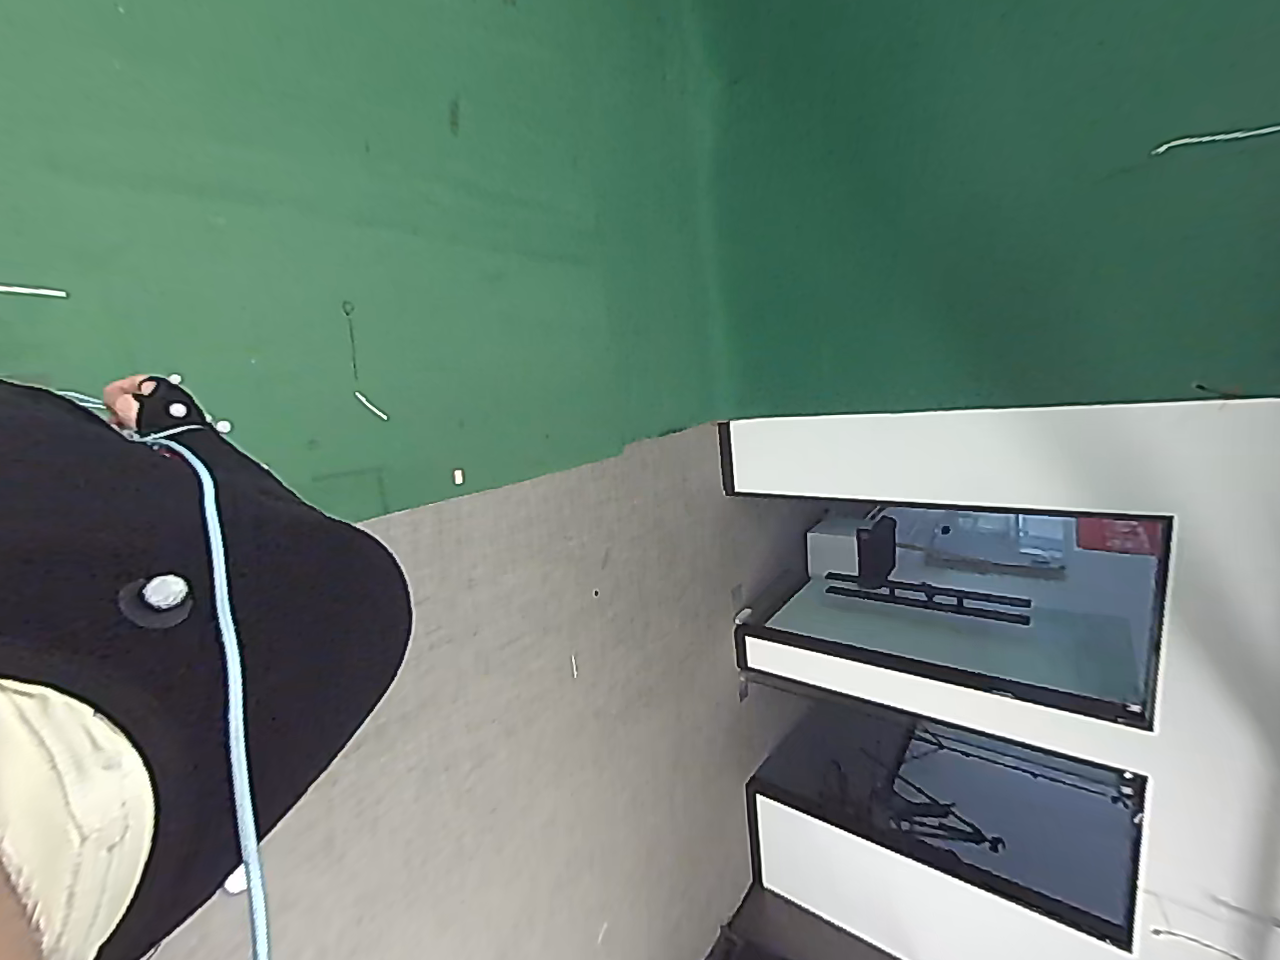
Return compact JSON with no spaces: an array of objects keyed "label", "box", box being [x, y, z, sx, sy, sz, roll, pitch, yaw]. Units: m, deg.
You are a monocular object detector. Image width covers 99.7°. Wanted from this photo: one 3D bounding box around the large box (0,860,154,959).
[{"label":"large box","box":[-1.207,1.065,1.034,0.408,0.320,0.320,-22,109,-50]}]
